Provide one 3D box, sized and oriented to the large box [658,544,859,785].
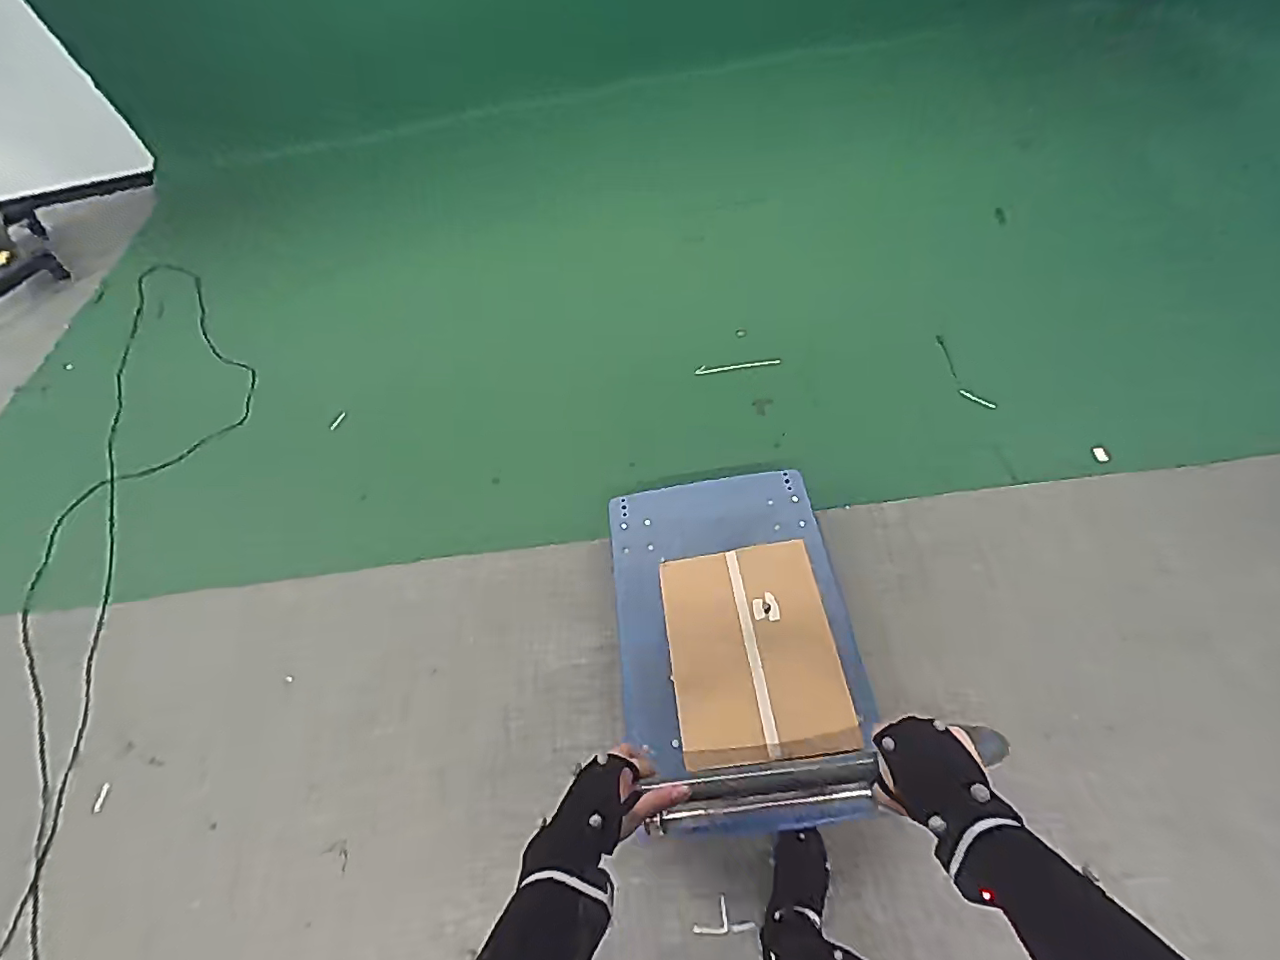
[{"bbox_3d":[0.237,0.409,1.181,0.320,0.320,0.408,-10,56,4],"label":"large box"}]
